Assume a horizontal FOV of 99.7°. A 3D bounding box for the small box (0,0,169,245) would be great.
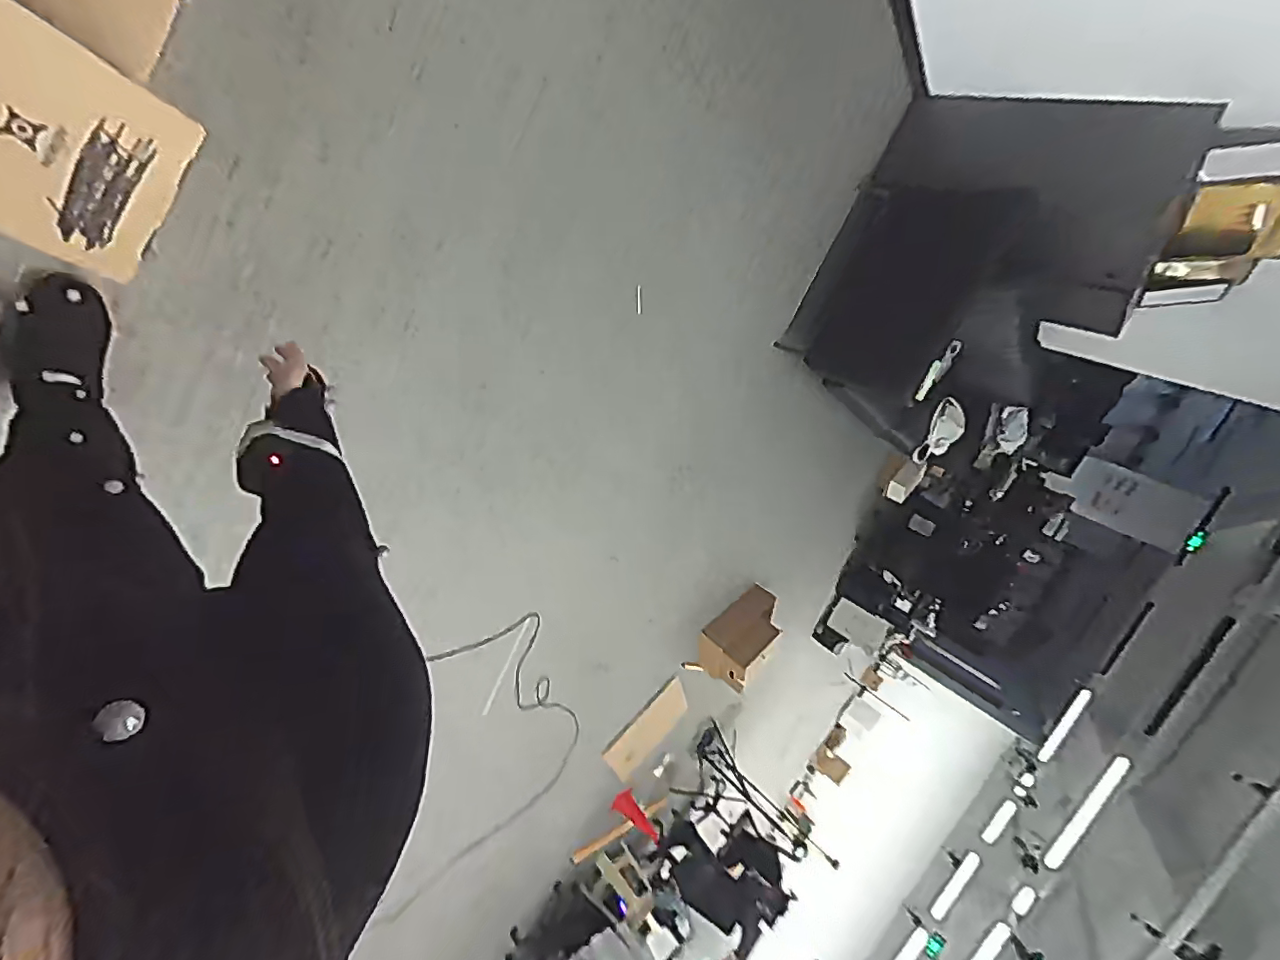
[{"bbox_3d":[-0.651,-0.385,0.572,0.168,0.176,0.179,24,95,-55],"label":"small box"}]
